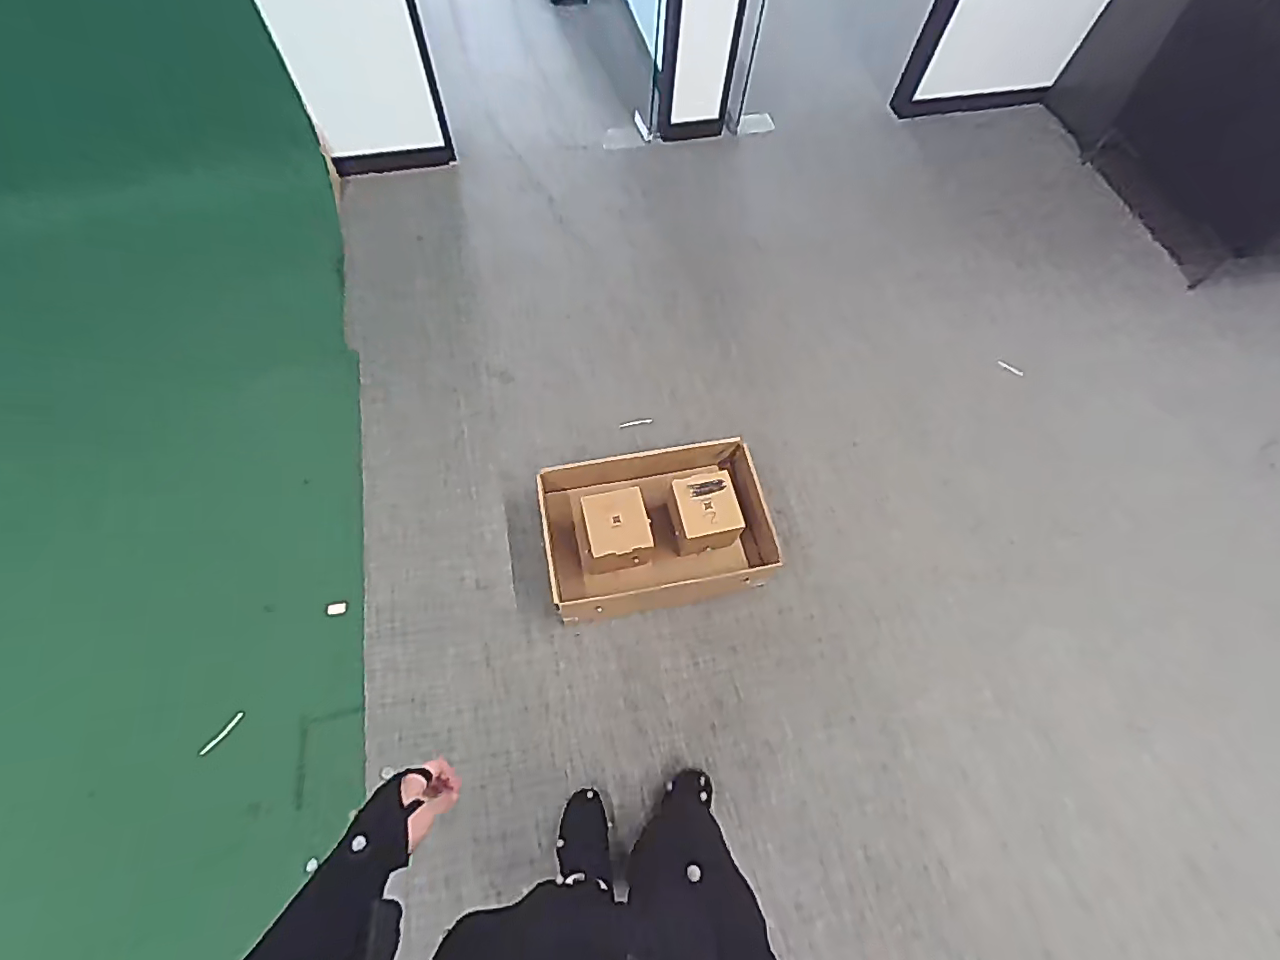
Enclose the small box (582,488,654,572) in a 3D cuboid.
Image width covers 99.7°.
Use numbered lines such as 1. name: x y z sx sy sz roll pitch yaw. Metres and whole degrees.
1. small box: -0.063 0.146 1.500 0.168 0.176 0.179 -10 65 -10
